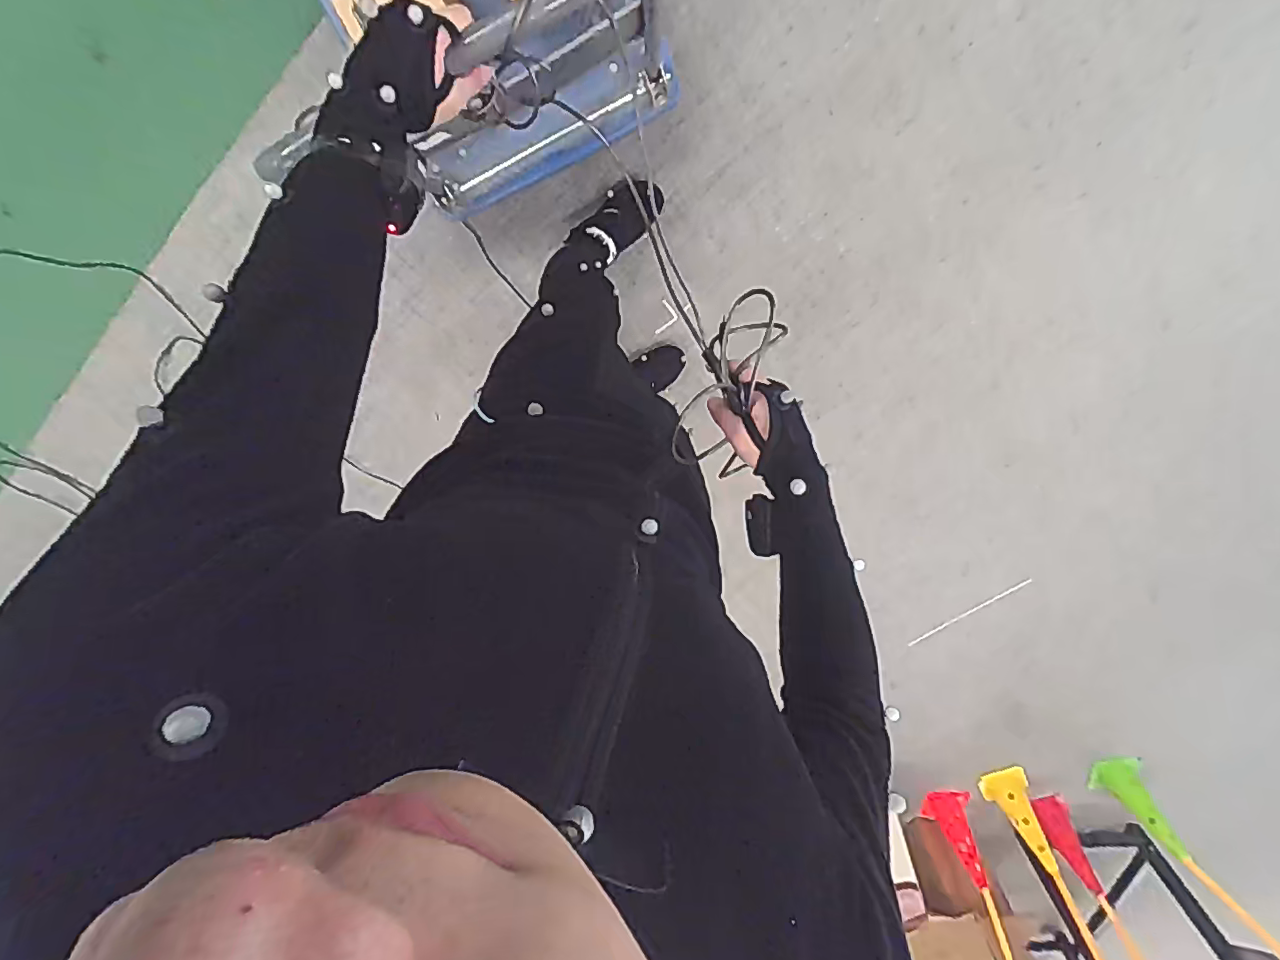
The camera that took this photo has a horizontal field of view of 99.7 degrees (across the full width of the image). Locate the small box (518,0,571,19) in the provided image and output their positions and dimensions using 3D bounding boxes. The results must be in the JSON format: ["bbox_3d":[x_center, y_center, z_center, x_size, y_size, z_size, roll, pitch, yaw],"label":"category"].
[{"bbox_3d":[-0.167,-0.925,0.901,0.168,0.176,0.179,-20,118,11],"label":"small box"}]
